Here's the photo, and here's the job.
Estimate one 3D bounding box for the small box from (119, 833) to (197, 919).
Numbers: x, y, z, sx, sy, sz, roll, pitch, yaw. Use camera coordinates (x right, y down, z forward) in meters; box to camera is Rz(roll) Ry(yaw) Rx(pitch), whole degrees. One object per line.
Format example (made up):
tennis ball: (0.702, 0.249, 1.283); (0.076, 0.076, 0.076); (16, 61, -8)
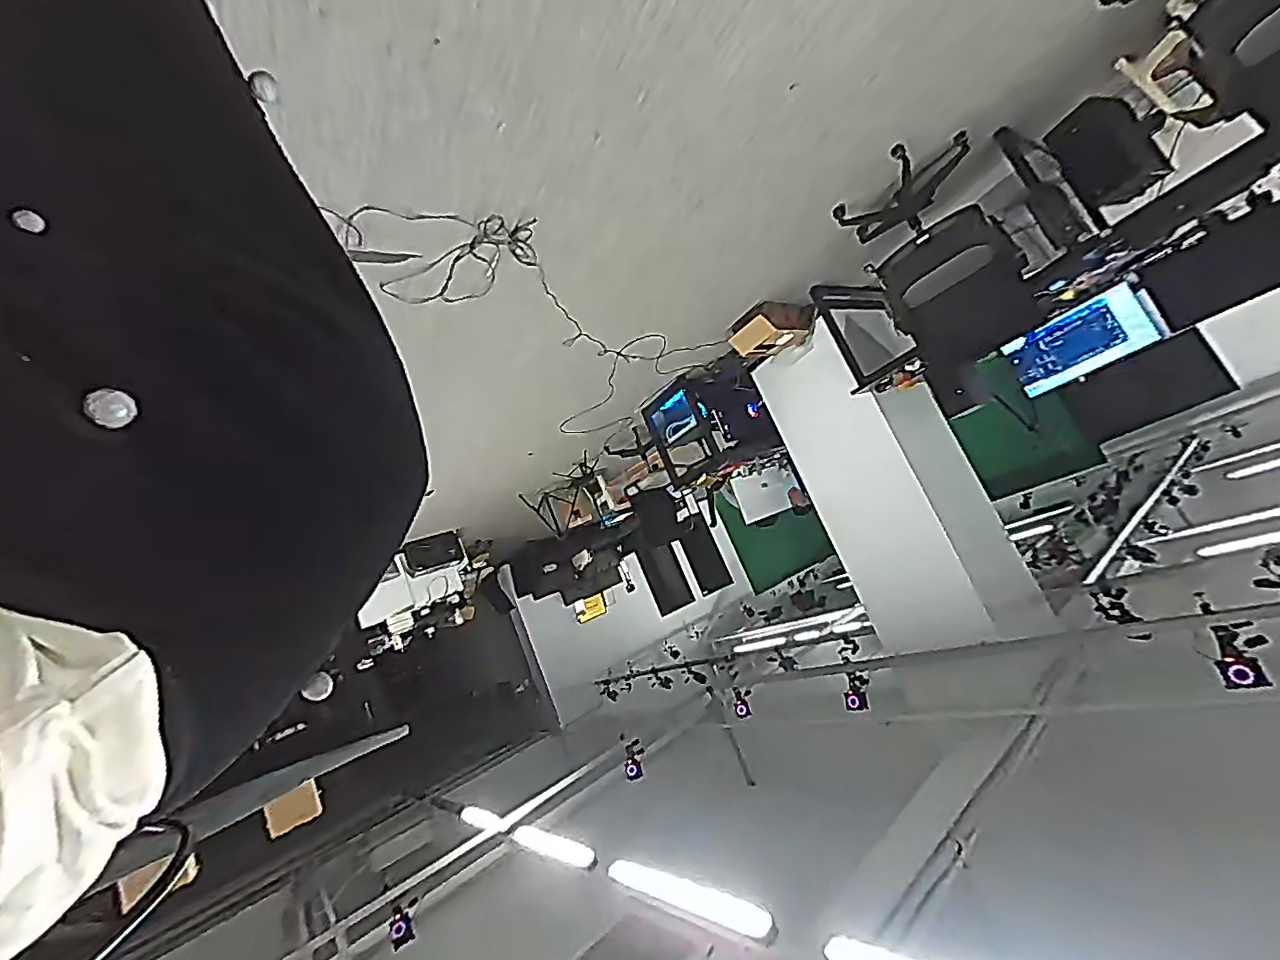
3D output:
small box: (-1.685, 1.373, 1.891); (0.179, 0.176, 0.168); (-15, 167, -38)

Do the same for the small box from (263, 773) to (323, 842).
small box: (-1.370, 1.285, 2.133); (0.168, 0.176, 0.179); (-16, 167, -35)
